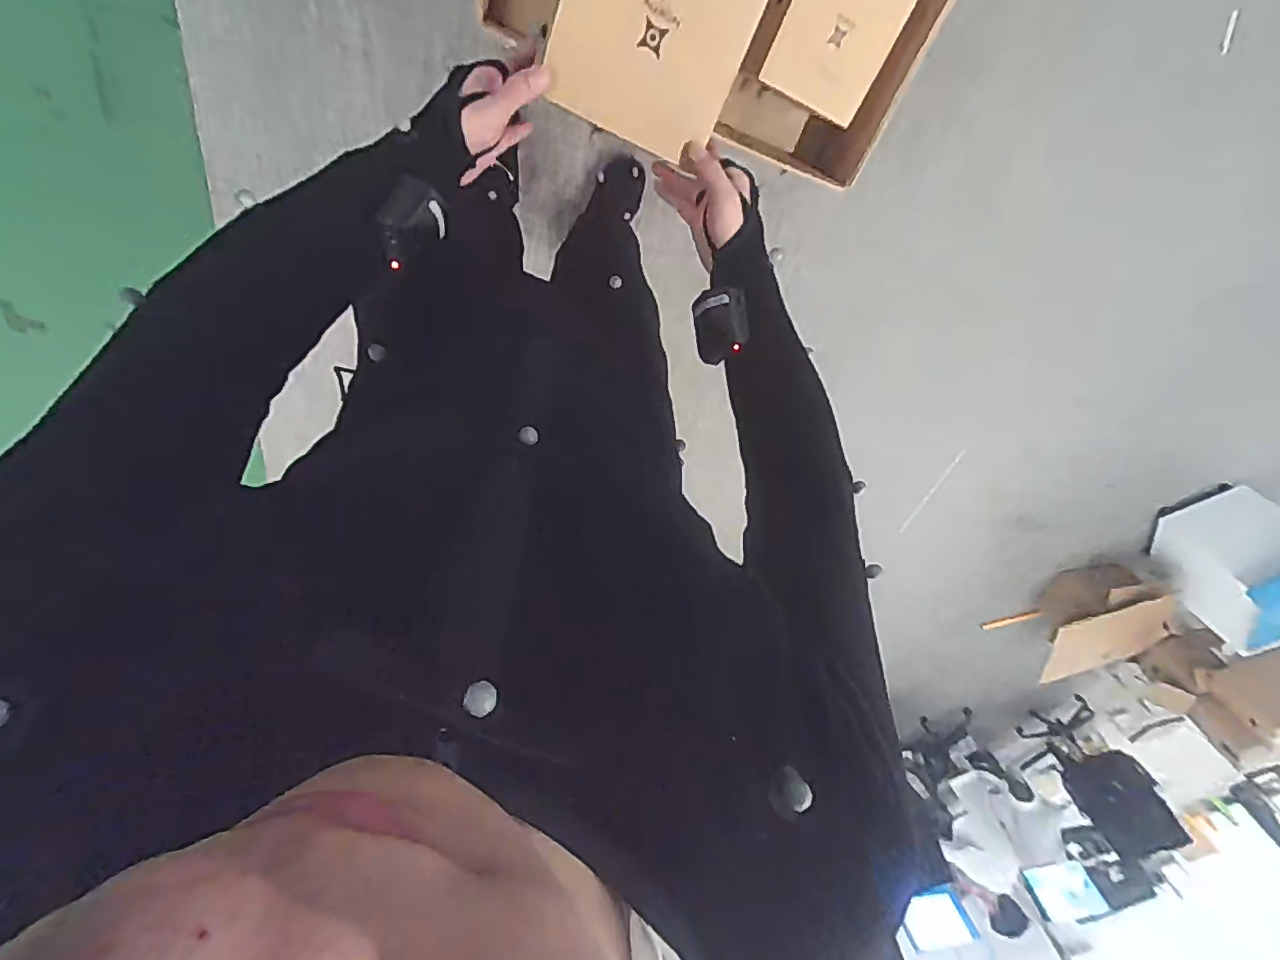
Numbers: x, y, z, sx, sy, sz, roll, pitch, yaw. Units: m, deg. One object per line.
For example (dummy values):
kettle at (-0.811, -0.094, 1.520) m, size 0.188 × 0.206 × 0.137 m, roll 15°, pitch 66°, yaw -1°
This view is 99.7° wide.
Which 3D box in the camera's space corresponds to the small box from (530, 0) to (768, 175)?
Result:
small box at (-0.004, -0.434, 0.529) m, size 0.168 × 0.176 × 0.179 m, roll 13°, pitch 120°, yaw -25°
